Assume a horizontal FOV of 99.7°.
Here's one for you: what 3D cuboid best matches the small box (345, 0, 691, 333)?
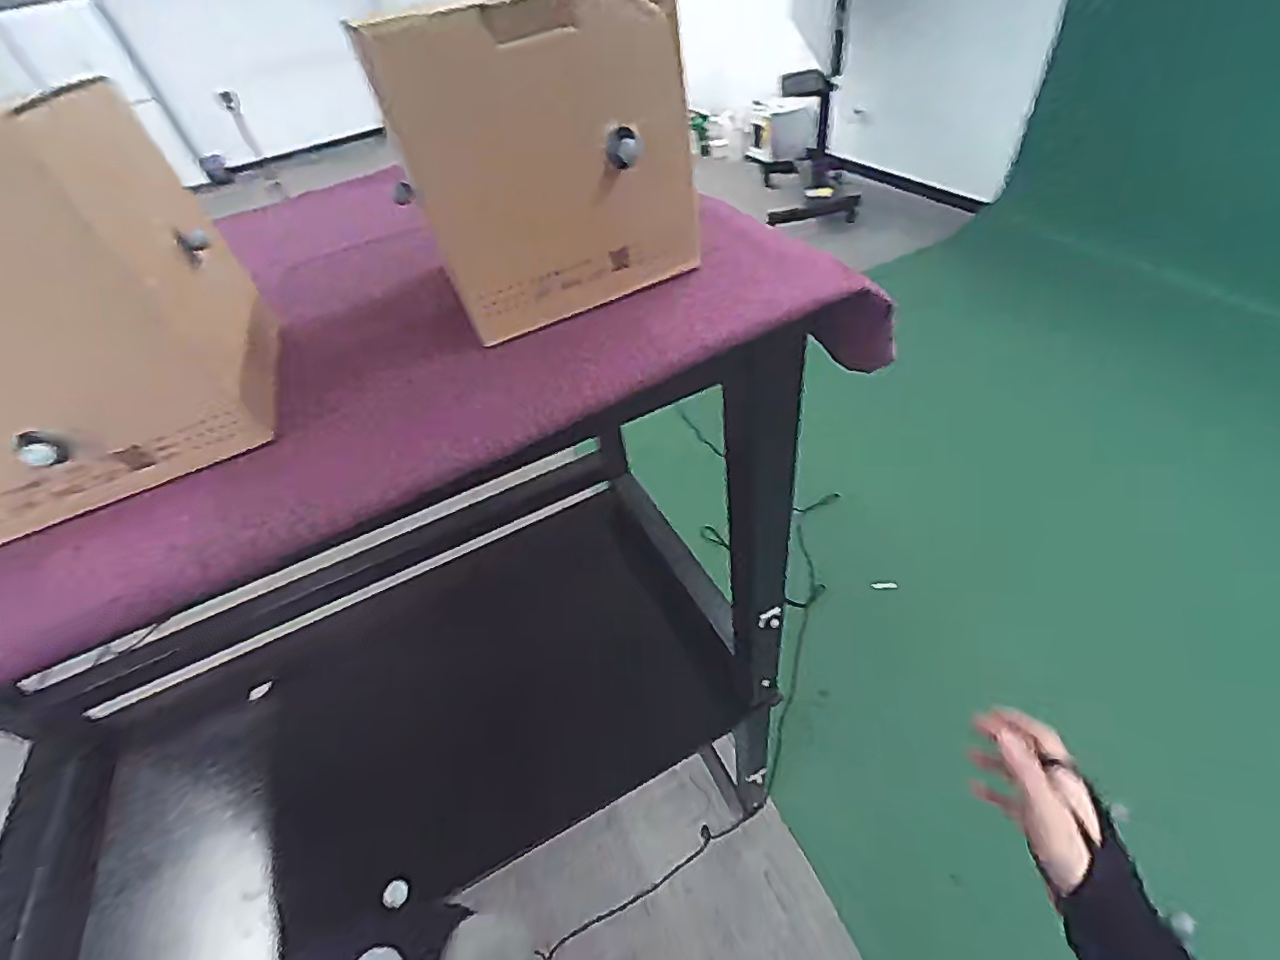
[{"bbox_3d":[-0.077,-0.223,0.374,0.168,0.176,0.179,-24,45,-11],"label":"small box"}]
